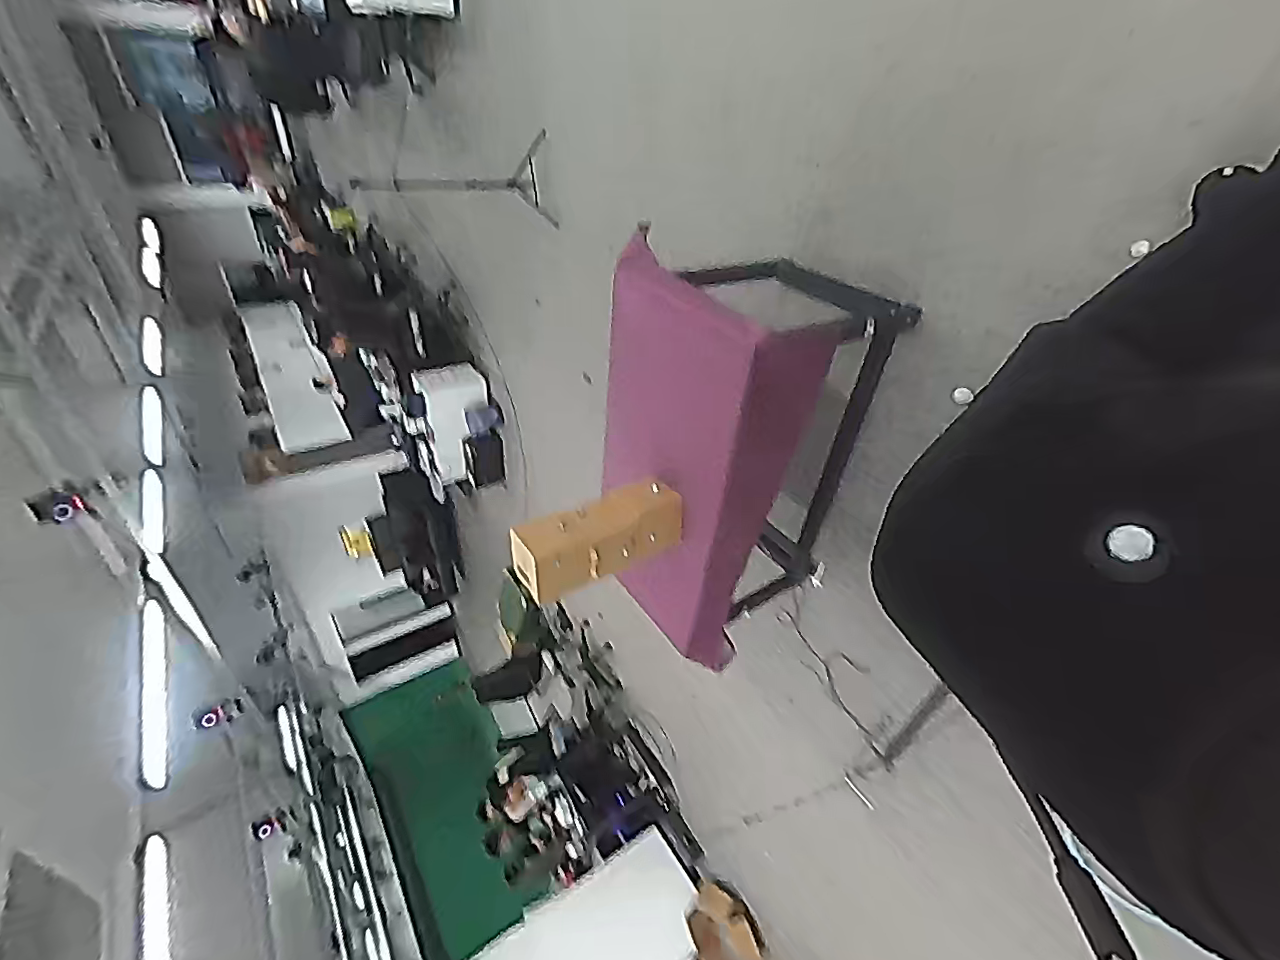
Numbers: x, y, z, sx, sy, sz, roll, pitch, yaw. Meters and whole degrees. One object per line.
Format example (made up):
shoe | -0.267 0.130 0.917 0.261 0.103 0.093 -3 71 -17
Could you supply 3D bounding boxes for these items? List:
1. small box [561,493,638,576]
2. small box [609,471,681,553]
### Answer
small box | -0.125 0.158 1.654 0.179 0.176 0.168 39 139 42
small box | 0.016 0.097 1.718 0.168 0.176 0.179 34 134 46
